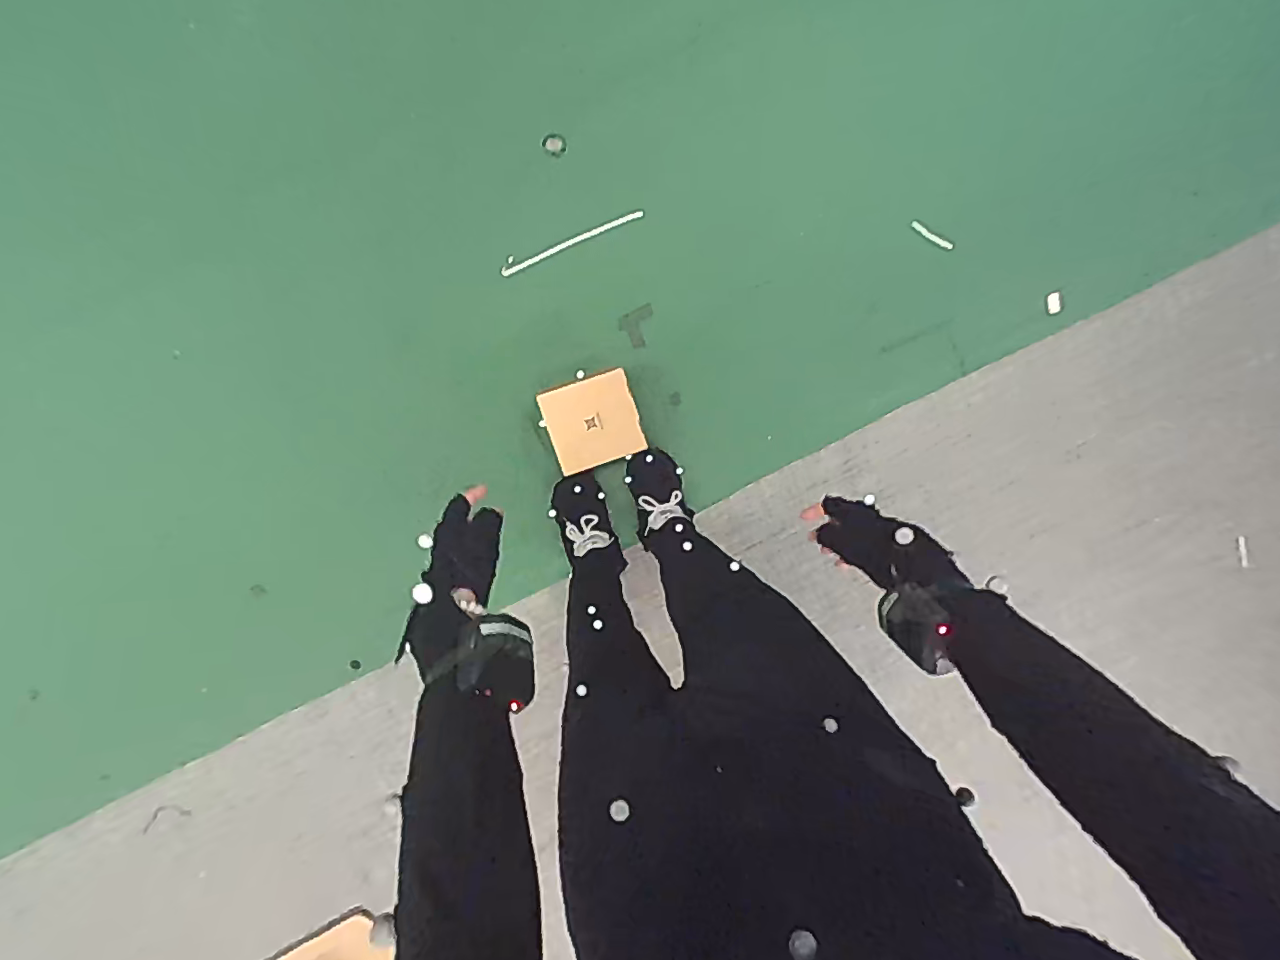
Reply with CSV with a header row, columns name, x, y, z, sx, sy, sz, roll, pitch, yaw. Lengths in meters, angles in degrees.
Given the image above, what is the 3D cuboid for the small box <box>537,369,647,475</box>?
name,x,y,z,sx,sy,sz,roll,pitch,yaw
small box,-0.101,-0.124,1.116,0.179,0.176,0.168,-20,104,-5
